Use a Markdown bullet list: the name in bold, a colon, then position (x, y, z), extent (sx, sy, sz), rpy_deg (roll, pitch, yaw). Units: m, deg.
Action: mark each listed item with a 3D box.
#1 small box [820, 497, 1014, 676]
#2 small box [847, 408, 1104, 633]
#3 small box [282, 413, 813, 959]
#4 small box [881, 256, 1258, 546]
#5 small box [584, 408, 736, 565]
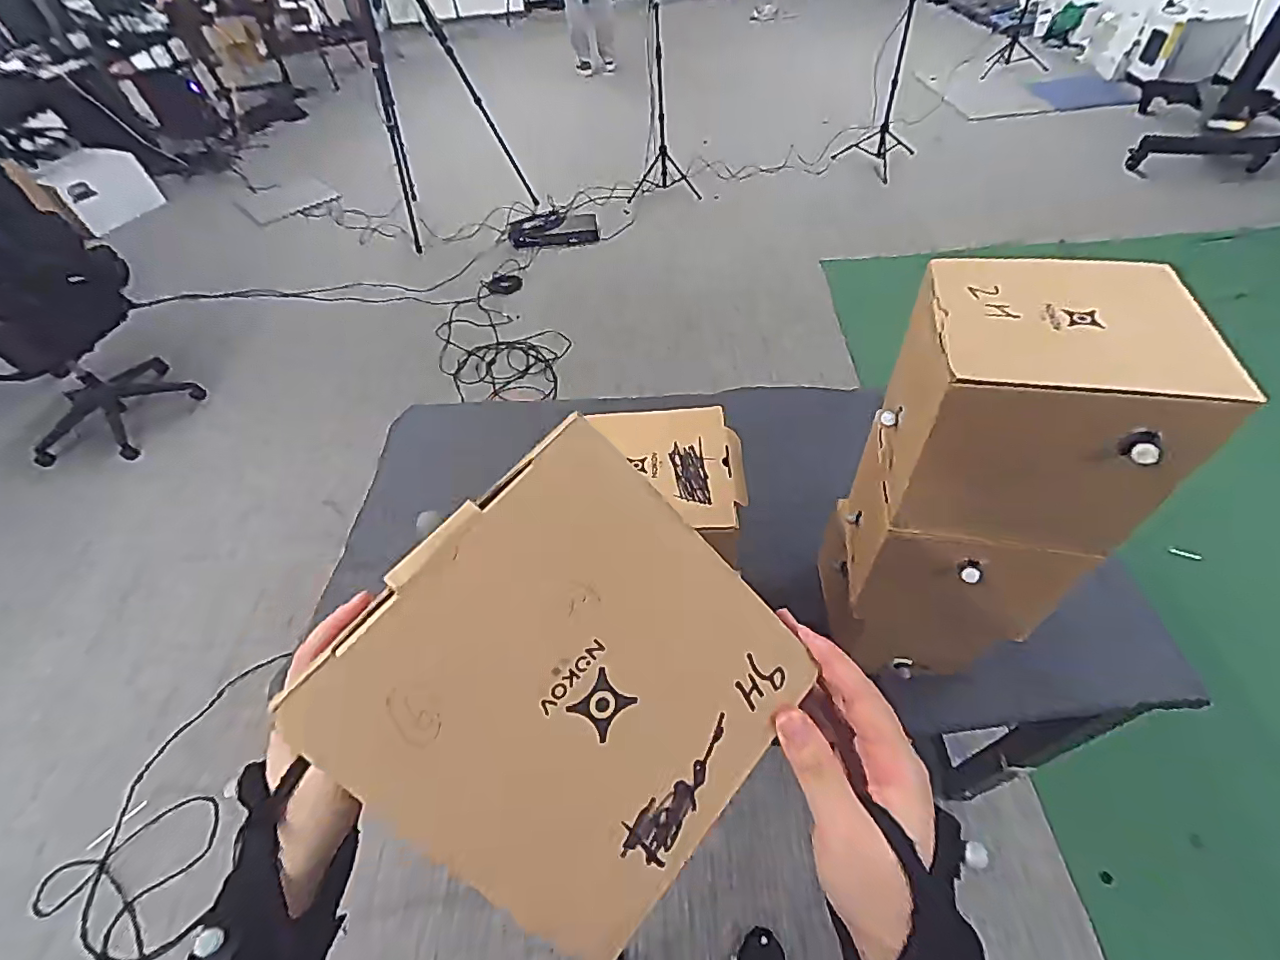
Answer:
- **small box**: position (0.343, 0.139, 0.706), extent (0.168, 0.176, 0.179), rpy_deg (-3, 50, 6)
- **small box**: position (0.327, 0.045, 0.574), extent (0.179, 0.176, 0.168), rpy_deg (6, 51, 13)
- **small box**: position (-0.049, 0.092, 0.310), extent (0.179, 0.176, 0.168), rpy_deg (47, 74, -9)
- **small box**: position (0.315, -0.063, 0.450), extent (0.179, 0.176, 0.168), rpy_deg (7, 50, 14)
- **small box**: position (0.010, 0.038, 0.613), extent (0.179, 0.176, 0.168), rpy_deg (-3, 49, 5)
